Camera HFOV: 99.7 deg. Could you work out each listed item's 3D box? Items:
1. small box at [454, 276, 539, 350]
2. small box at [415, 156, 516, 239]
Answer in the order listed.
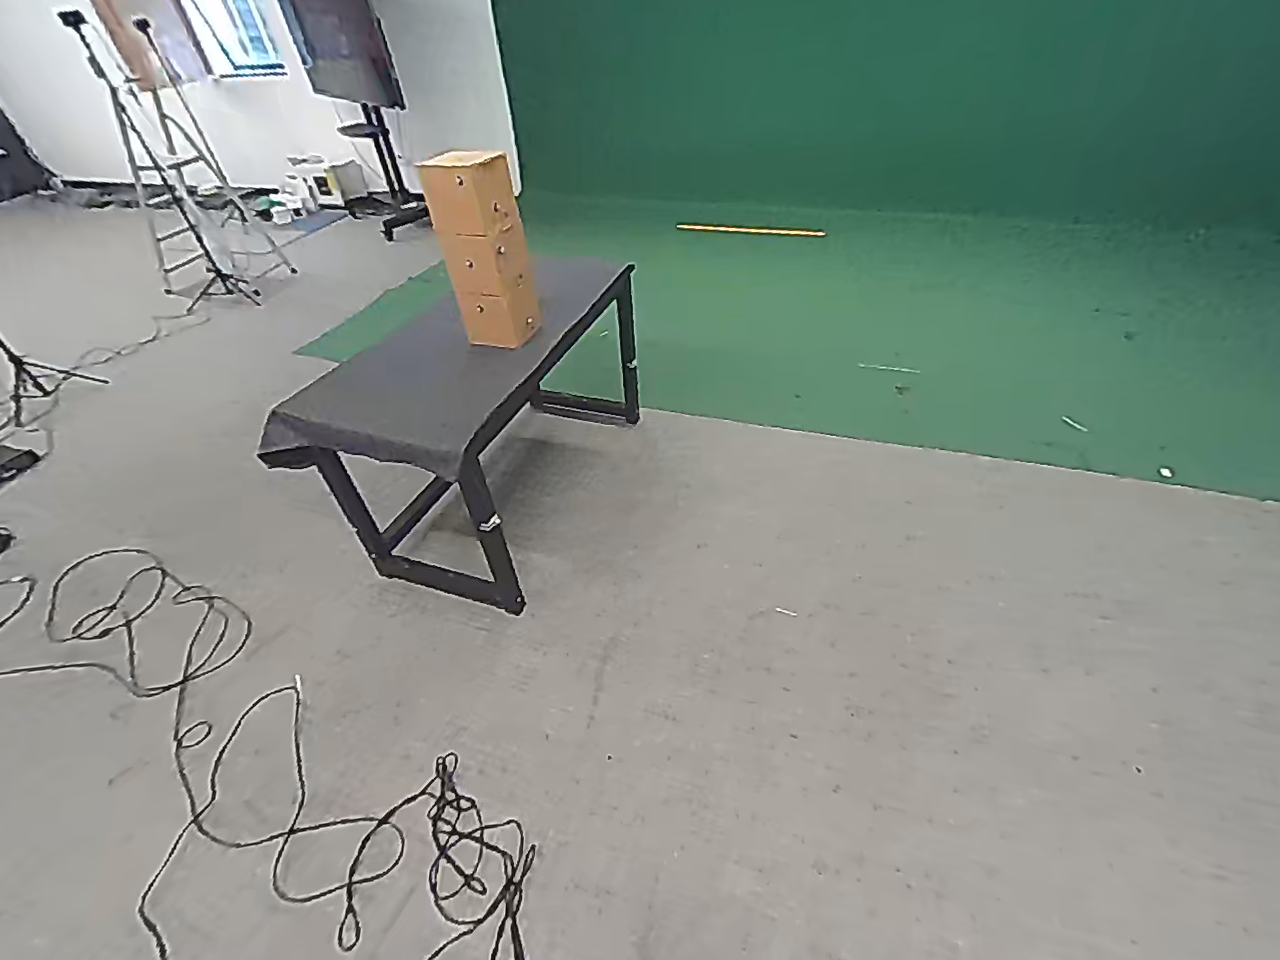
[{"bbox_3d":[-0.437,-0.516,1.674,0.179,0.176,0.168,10,44,15],"label":"small box"},{"bbox_3d":[-0.463,-0.764,1.462,0.179,0.176,0.168,12,44,18],"label":"small box"}]
